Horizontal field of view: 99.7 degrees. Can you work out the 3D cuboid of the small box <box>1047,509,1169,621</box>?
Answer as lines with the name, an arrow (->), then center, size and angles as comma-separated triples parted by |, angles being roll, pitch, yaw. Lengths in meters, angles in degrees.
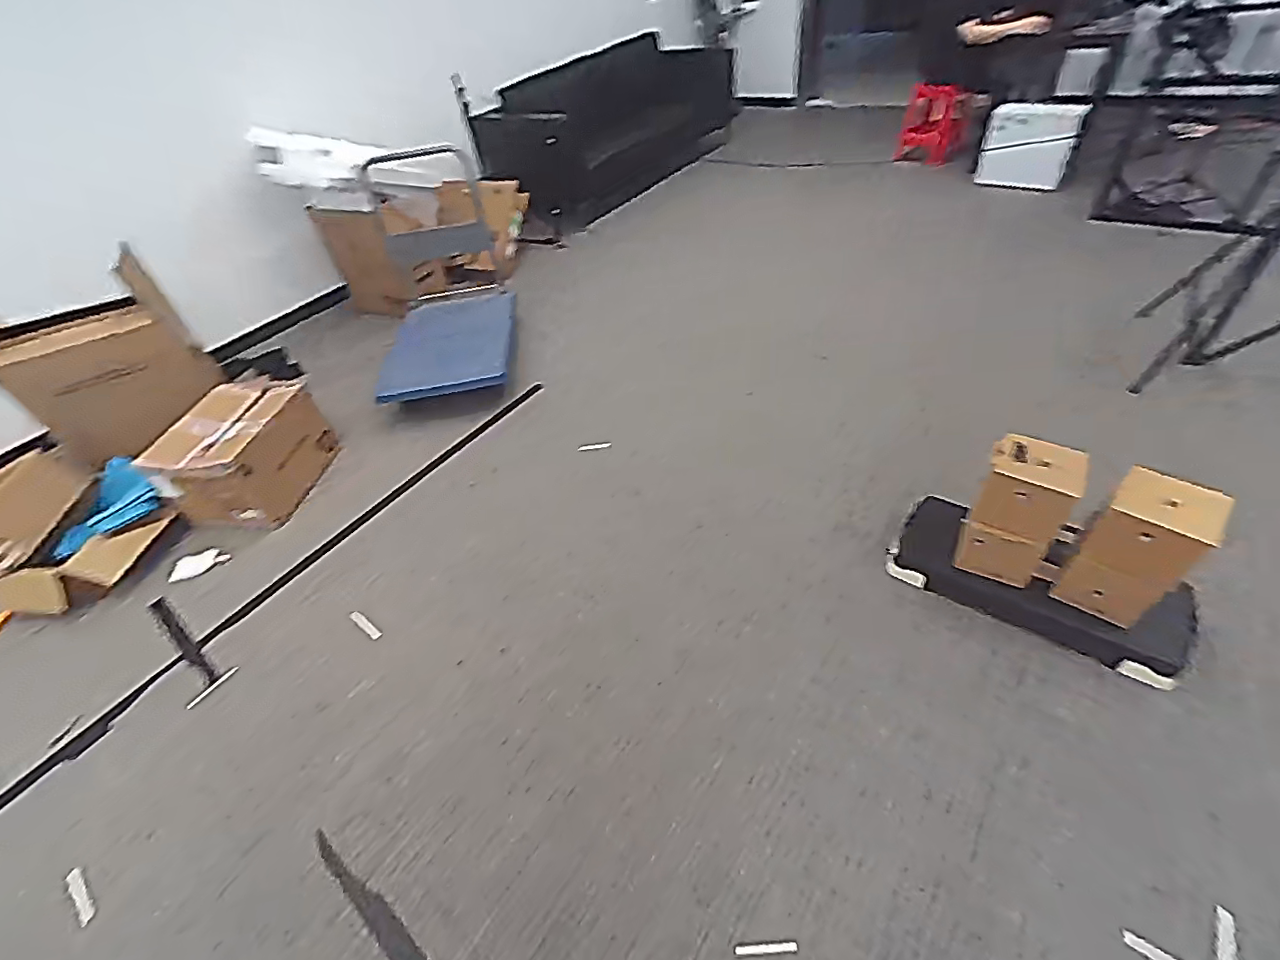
small box -> 1.135, 0.210, 1.322 | 0.168, 0.176, 0.179 | 27, 55, 31
